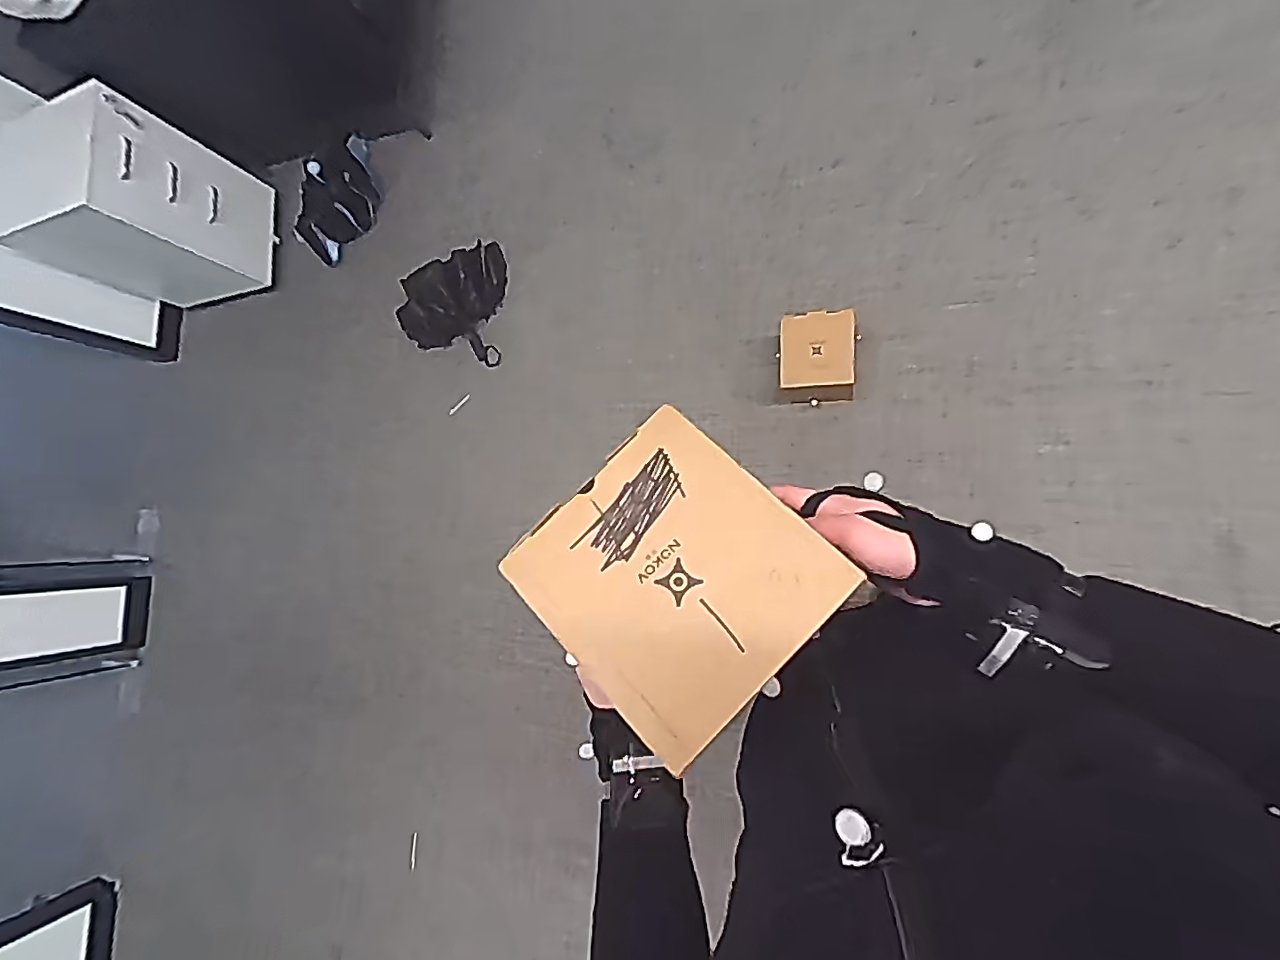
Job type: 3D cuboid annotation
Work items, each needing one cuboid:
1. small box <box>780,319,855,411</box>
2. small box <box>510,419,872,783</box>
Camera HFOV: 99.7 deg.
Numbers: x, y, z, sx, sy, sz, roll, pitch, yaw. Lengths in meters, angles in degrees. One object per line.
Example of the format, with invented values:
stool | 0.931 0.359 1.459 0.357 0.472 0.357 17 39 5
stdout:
small box | 0.439 -0.275 1.330 0.168 0.176 0.179 0 85 21
small box | 0.038 0.091 0.420 0.168 0.176 0.179 -44 71 -6
